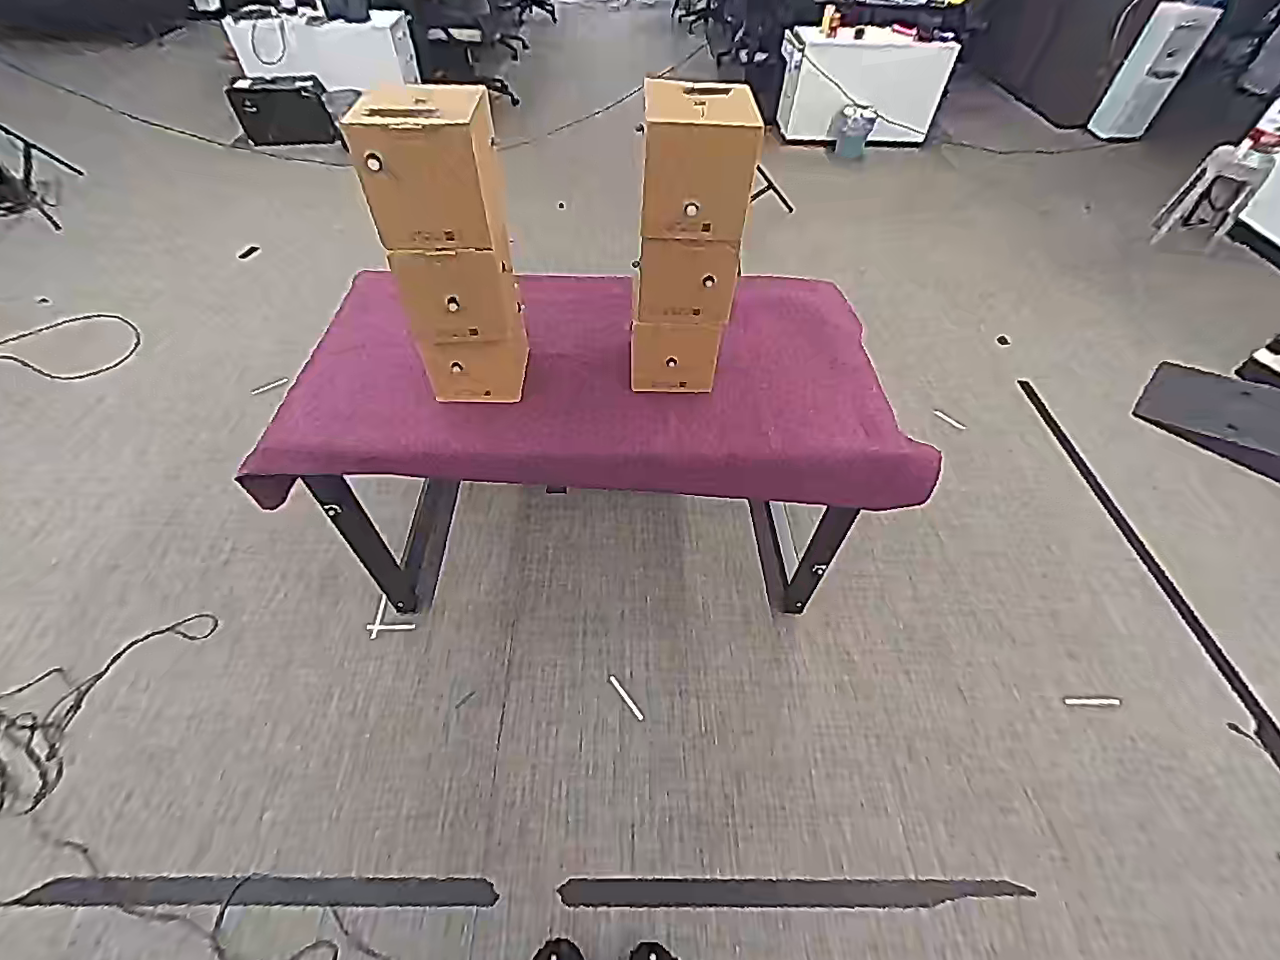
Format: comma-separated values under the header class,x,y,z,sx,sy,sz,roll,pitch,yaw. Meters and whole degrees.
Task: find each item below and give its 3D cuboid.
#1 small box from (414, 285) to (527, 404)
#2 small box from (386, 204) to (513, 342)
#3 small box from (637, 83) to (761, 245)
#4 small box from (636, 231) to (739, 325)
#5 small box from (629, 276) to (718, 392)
class,x,y,z,sx,sy,sz,roll,pitch,yaw
small box,-0.325,-0.267,1.077,0.168,0.176,0.179,0,51,-2
small box,-0.316,-0.353,0.937,0.168,0.176,0.179,-4,51,-5
small box,0.081,-0.498,0.857,0.168,0.176,0.179,1,52,-2
small box,0.079,-0.402,0.990,0.168,0.176,0.179,2,50,-2
small box,0.063,-0.297,1.113,0.168,0.176,0.179,1,51,-2
